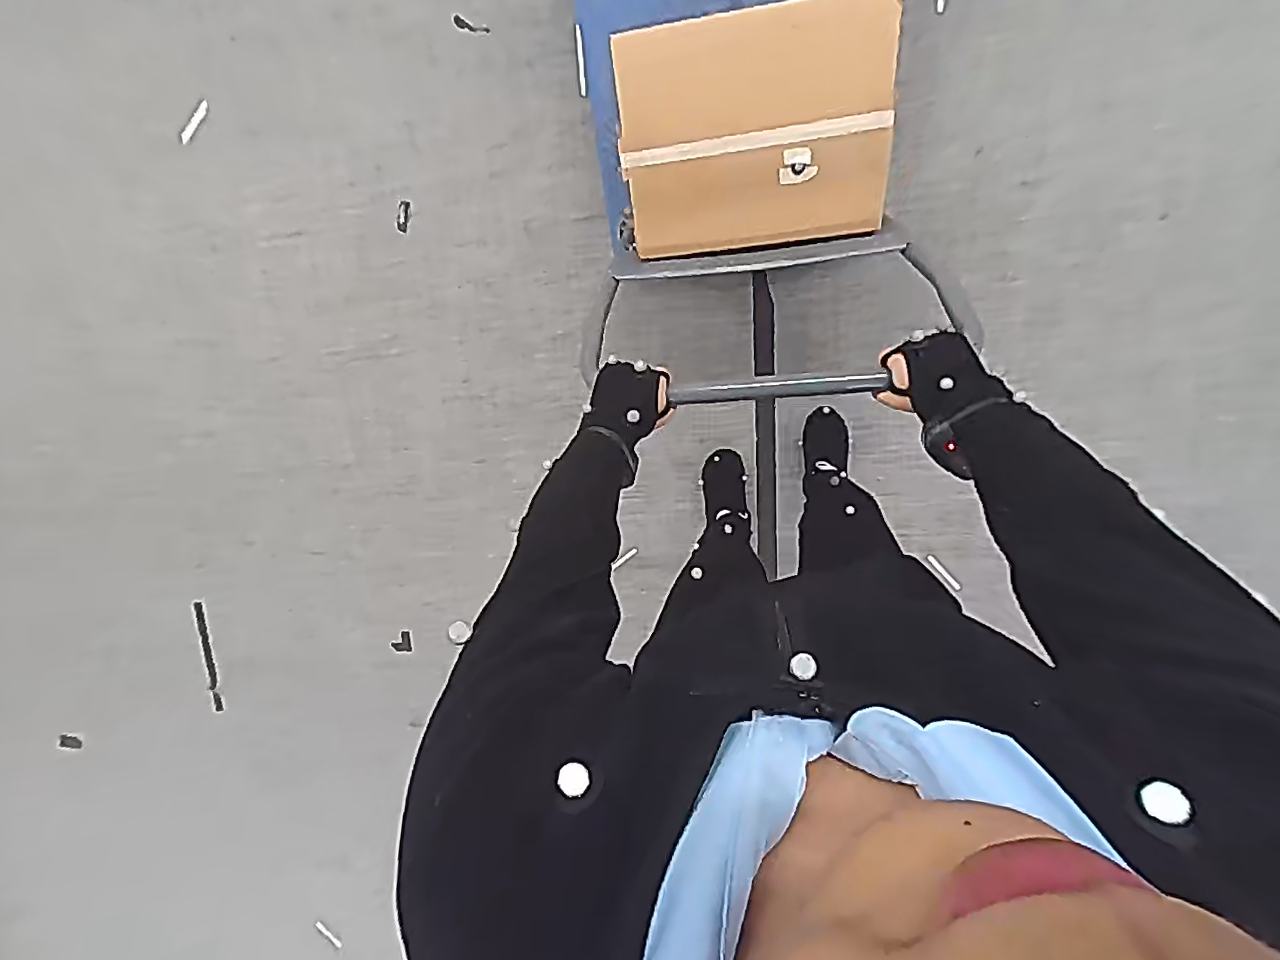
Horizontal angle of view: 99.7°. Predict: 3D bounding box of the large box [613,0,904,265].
[{"bbox_3d":[0.189,-0.596,0.946,0.408,0.320,0.320,-4,124,9],"label":"large box"}]
